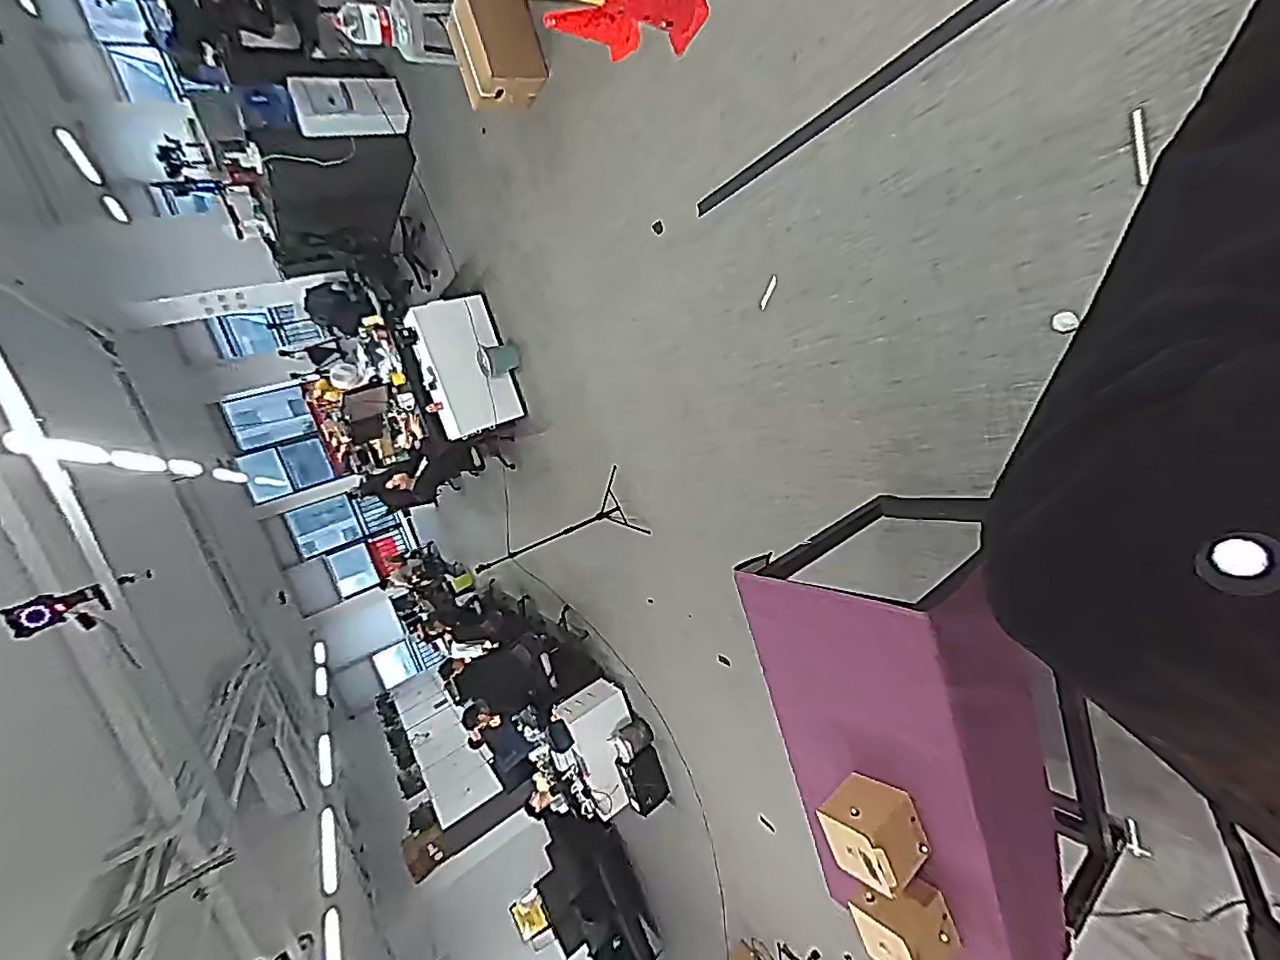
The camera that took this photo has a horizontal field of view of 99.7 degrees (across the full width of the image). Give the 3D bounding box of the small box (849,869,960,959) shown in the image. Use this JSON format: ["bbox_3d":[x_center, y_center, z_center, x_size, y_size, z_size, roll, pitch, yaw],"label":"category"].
[{"bbox_3d":[0.695,1.151,1.424,0.179,0.176,0.168,-16,97,60],"label":"small box"}]

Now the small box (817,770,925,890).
[{"bbox_3d":[0.600,0.886,1.392,0.179,0.176,0.168,-20,93,62],"label":"small box"}]
